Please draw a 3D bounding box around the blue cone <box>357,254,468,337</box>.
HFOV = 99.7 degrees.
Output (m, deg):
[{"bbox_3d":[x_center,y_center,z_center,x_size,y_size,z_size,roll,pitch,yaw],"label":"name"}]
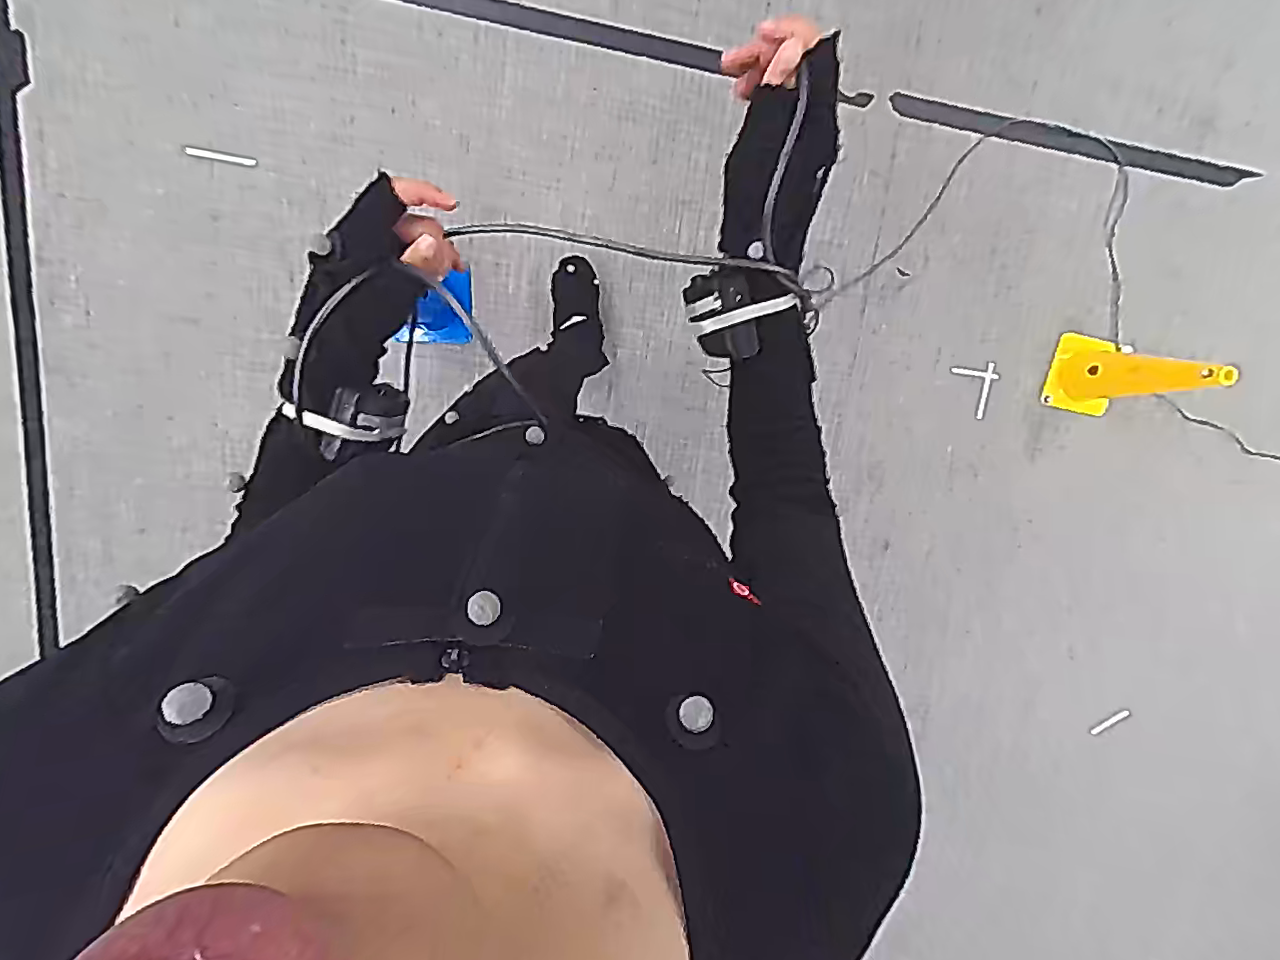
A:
[{"bbox_3d":[-0.507,-0.416,1.161,0.193,0.380,0.192,2,101,-4],"label":"blue cone"}]
